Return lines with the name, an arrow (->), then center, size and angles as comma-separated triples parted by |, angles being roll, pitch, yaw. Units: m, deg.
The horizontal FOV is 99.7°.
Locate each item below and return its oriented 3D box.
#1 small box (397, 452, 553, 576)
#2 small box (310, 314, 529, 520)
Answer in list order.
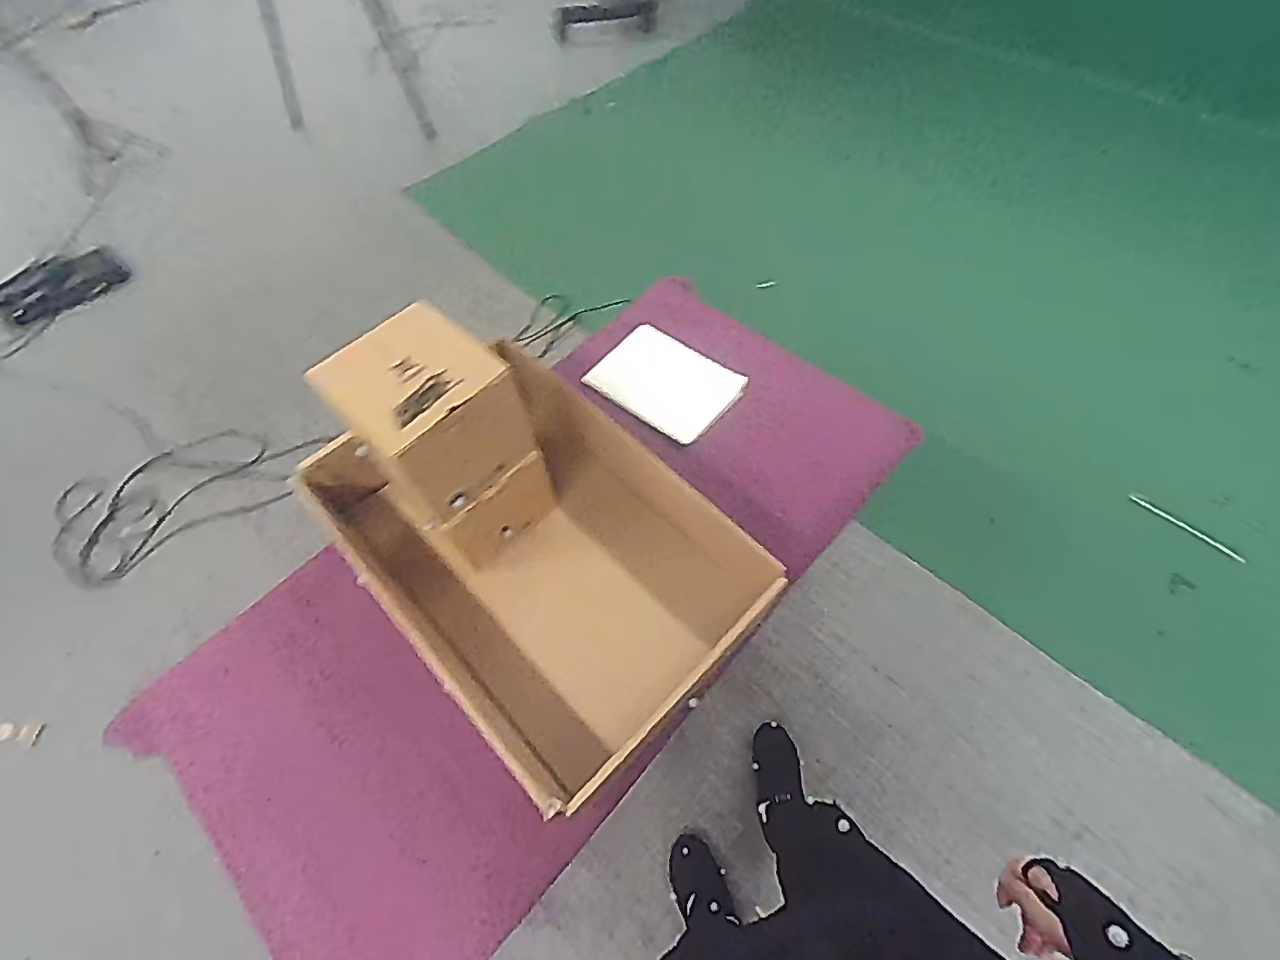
small box -> -0.258, 0.018, 0.834 | 0.179, 0.176, 0.168 | 38, 67, 20
small box -> -0.267, -0.071, 0.696 | 0.179, 0.176, 0.168 | 37, 66, 21
